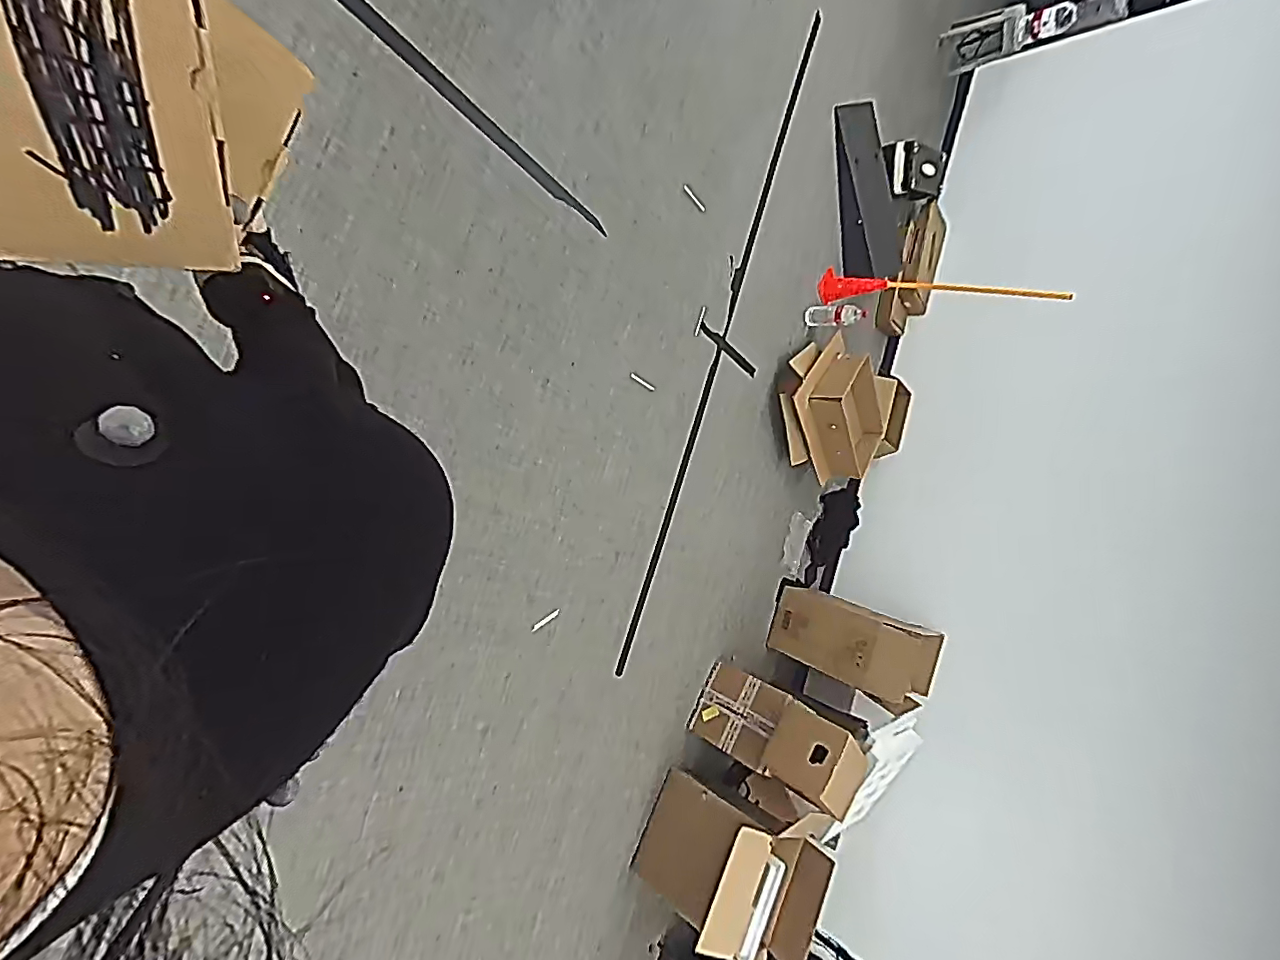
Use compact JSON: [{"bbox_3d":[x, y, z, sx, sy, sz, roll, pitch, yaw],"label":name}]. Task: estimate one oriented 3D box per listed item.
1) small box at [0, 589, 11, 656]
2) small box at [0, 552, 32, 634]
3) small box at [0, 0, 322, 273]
[{"bbox_3d":[-0.852,0.217,0.610,0.168,0.176,0.179,12,91,-47],"label":"small box"},{"bbox_3d":[-0.969,0.175,0.716,0.179,0.176,0.168,35,73,-45],"label":"small box"},{"bbox_3d":[-0.386,-0.281,0.395,0.179,0.176,0.168,27,86,-56],"label":"small box"}]
